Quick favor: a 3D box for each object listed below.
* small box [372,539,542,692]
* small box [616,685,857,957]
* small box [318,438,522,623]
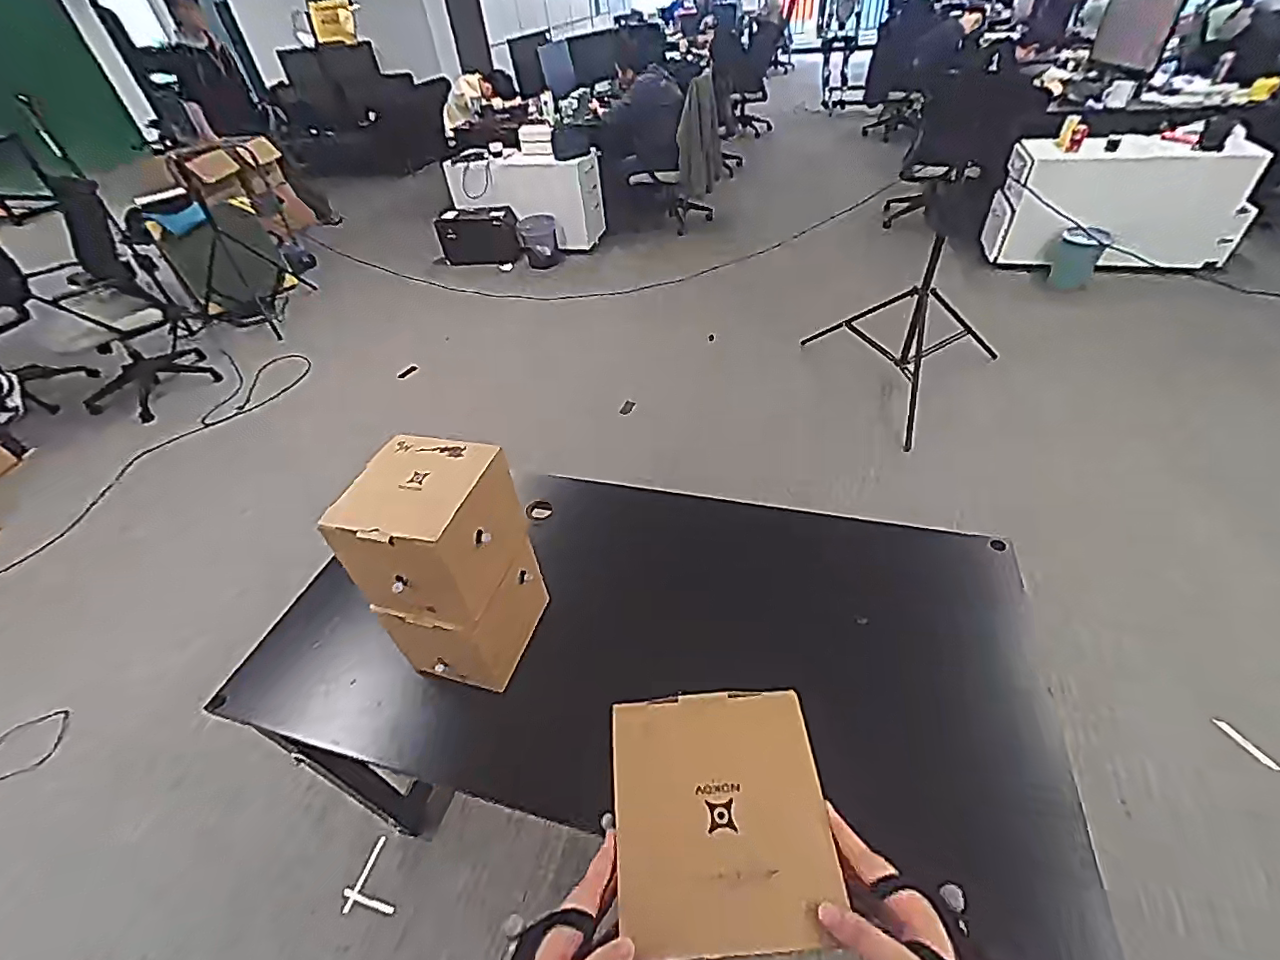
[{"bbox_3d":[-0.264,0.194,0.836,0.168,0.176,0.179,9,45,15],"label":"small box"},{"bbox_3d":[0.067,0.307,0.487,0.168,0.176,0.179,-5,50,-1],"label":"small box"},{"bbox_3d":[-0.276,0.068,0.730,0.168,0.176,0.179,7,45,13],"label":"small box"}]
